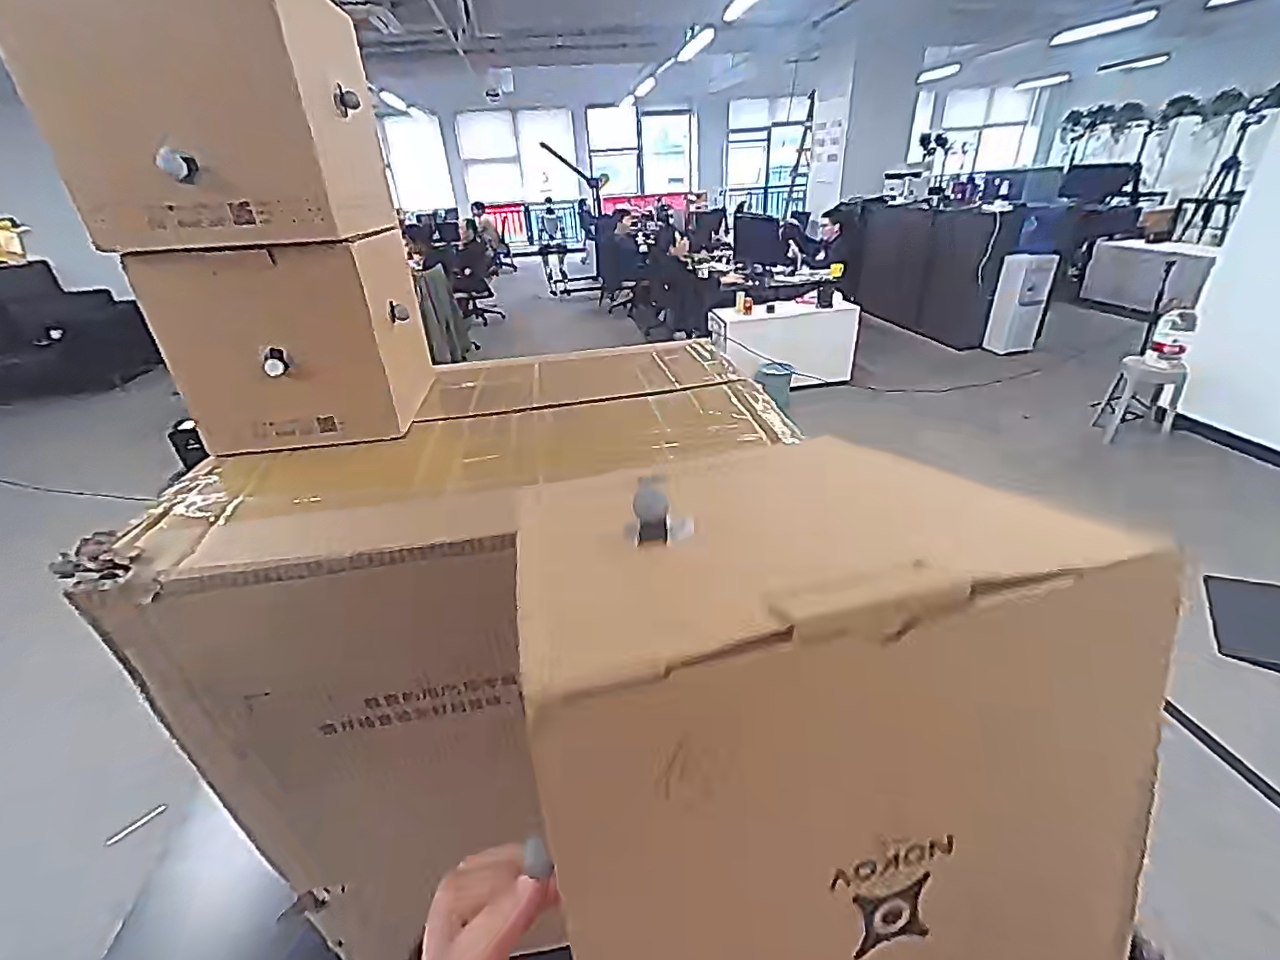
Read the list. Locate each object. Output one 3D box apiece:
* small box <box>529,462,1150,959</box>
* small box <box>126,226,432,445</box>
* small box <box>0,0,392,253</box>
[{"bbox_3d":[0.048,0.095,0.225,0.168,0.179,0.176,-10,15,-9],"label":"small box"},{"bbox_3d":[-0.311,-0.139,0.519,0.168,0.176,0.179,-7,29,-7],"label":"small box"},{"bbox_3d":[-0.313,-0.277,0.425,0.168,0.176,0.179,-6,29,-6],"label":"small box"}]
